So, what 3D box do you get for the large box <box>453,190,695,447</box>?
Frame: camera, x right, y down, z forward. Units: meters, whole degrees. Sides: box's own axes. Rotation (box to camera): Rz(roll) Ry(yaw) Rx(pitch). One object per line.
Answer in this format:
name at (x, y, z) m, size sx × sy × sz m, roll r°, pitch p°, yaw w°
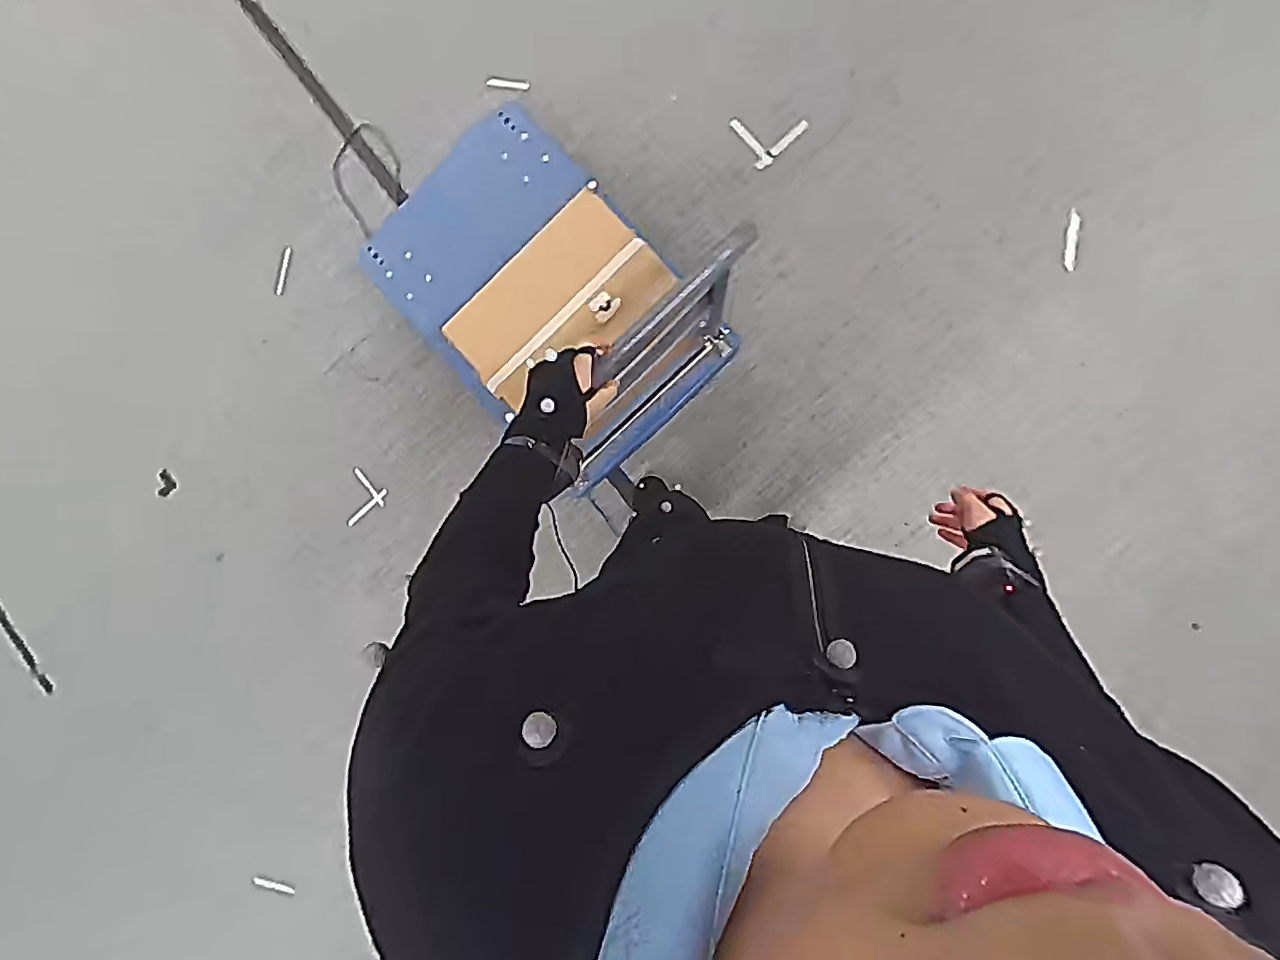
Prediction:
large box at (-0.122, -0.324, 1.210) m, size 0.408 × 0.320 × 0.320 m, roll -43°, pitch 87°, yaw 4°
